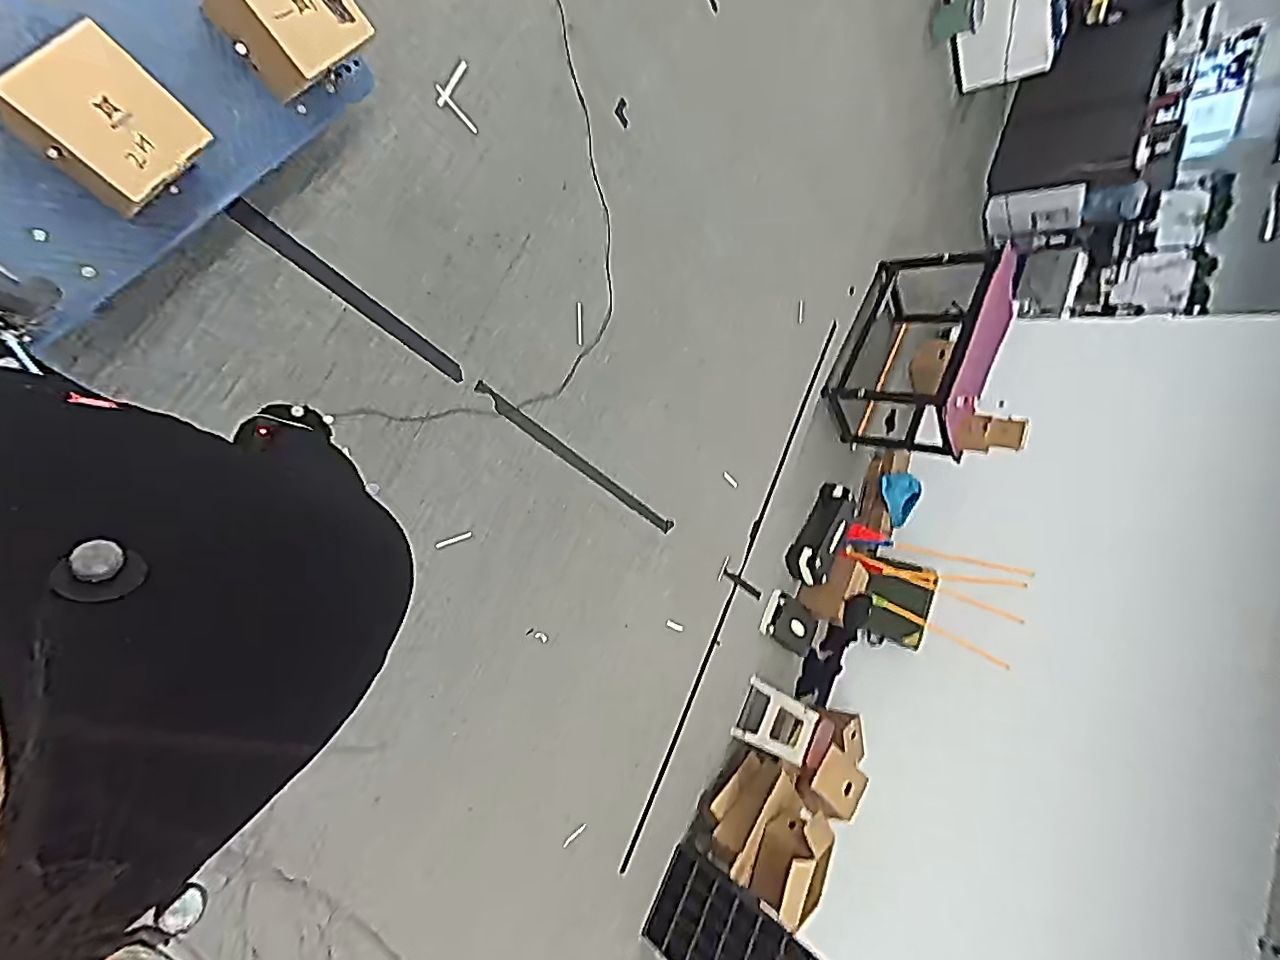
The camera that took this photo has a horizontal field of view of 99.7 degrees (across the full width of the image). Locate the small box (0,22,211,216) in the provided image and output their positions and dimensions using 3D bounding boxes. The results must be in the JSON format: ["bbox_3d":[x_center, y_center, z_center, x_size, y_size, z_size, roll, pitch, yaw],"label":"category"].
[{"bbox_3d":[-0.828,-0.542,0.838,0.179,0.176,0.168,49,64,-43],"label":"small box"}]

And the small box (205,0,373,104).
[{"bbox_3d":[-0.636,-0.826,0.978,0.179,0.176,0.168,-56,135,-21],"label":"small box"}]
